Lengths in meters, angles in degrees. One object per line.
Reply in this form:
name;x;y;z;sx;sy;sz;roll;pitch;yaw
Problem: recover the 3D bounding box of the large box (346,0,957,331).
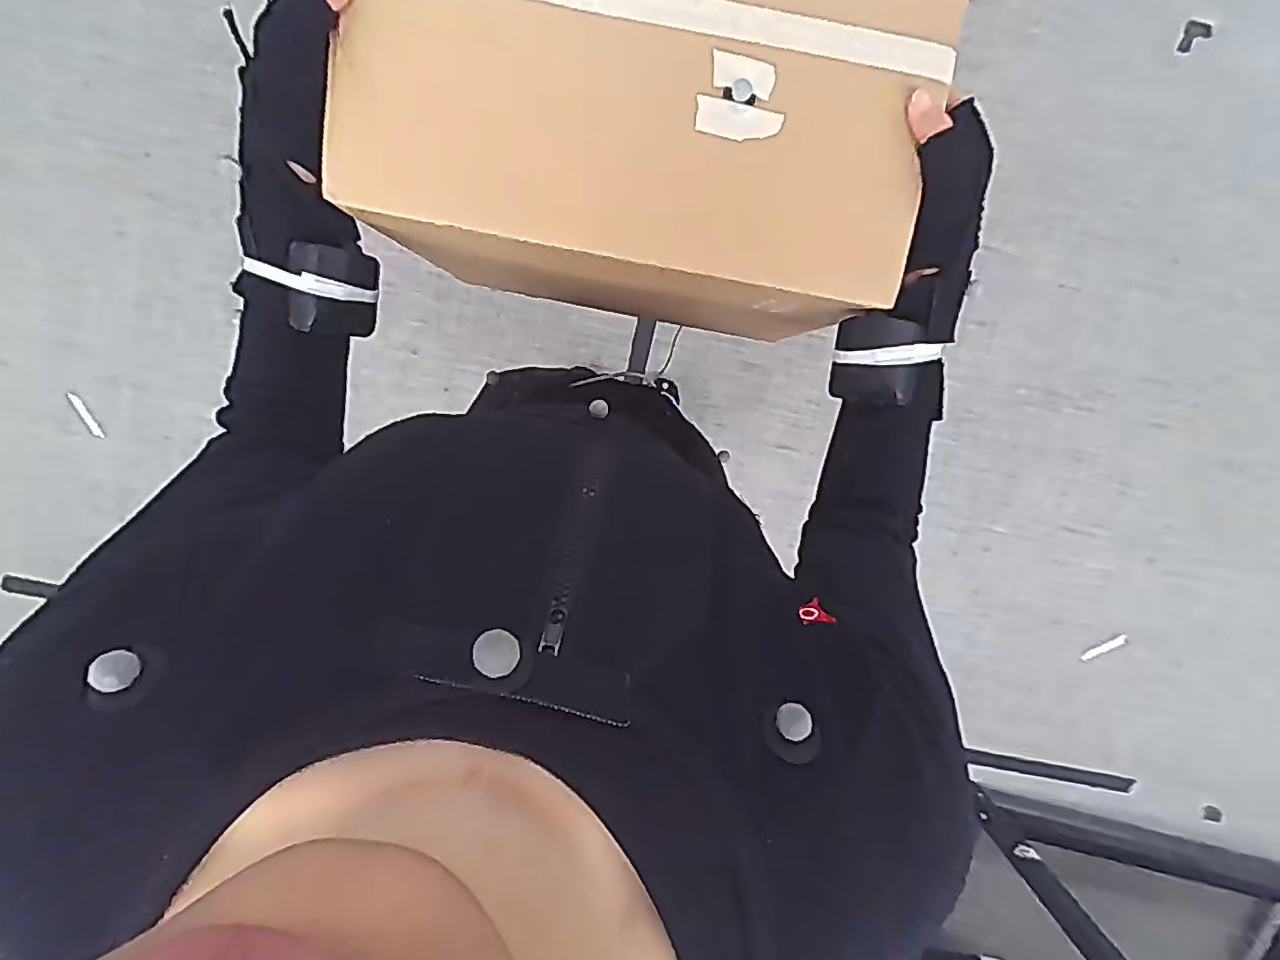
large box;0.006;-0.341;0.509;0.408;0.320;0.320;10;101;-4
